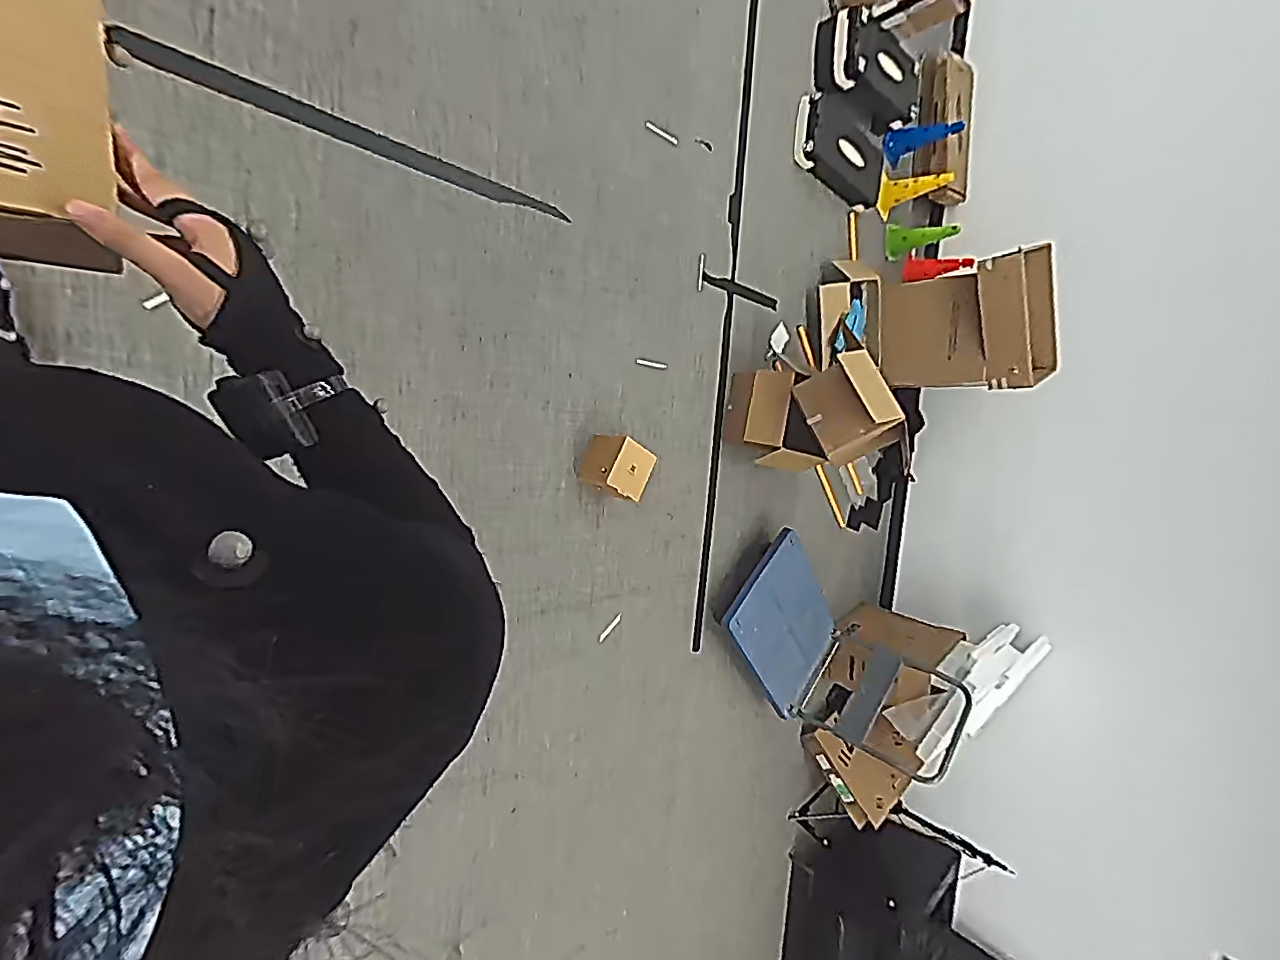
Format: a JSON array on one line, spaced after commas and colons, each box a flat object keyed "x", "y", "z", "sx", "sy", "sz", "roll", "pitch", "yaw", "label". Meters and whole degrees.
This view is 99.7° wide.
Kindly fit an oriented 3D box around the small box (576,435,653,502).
[{"x": -0.092, "y": -0.045, "z": 1.869, "sx": 0.168, "sy": 0.176, "sz": 0.179, "roll": 34, "pitch": 75, "yaw": -42, "label": "small box"}]
